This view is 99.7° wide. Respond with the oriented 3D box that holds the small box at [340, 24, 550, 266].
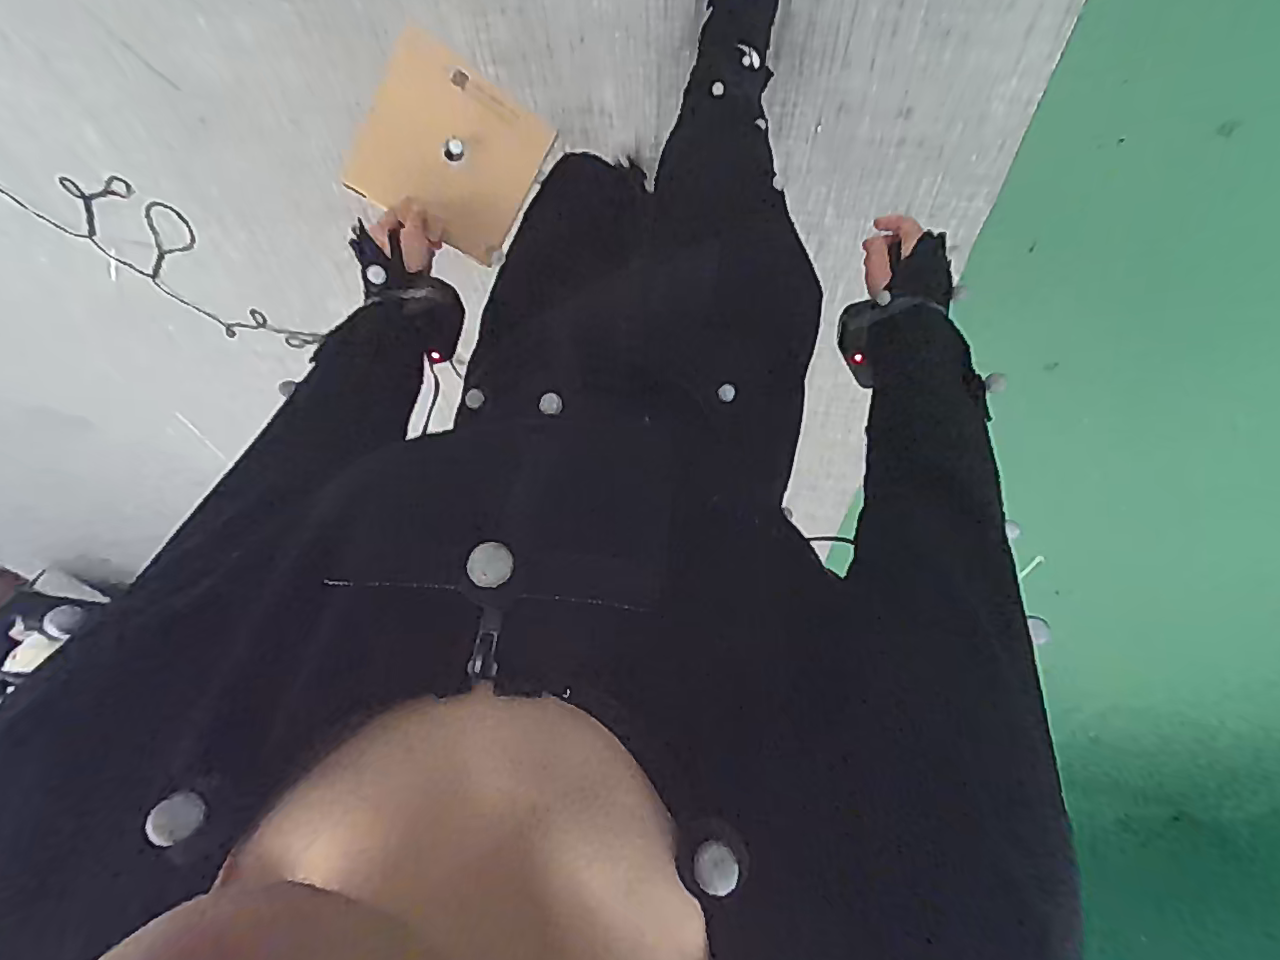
[{"bbox_3d":[-0.222,-0.375,0.633,0.168,0.179,0.176,25,103,-28],"label":"small box"}]
